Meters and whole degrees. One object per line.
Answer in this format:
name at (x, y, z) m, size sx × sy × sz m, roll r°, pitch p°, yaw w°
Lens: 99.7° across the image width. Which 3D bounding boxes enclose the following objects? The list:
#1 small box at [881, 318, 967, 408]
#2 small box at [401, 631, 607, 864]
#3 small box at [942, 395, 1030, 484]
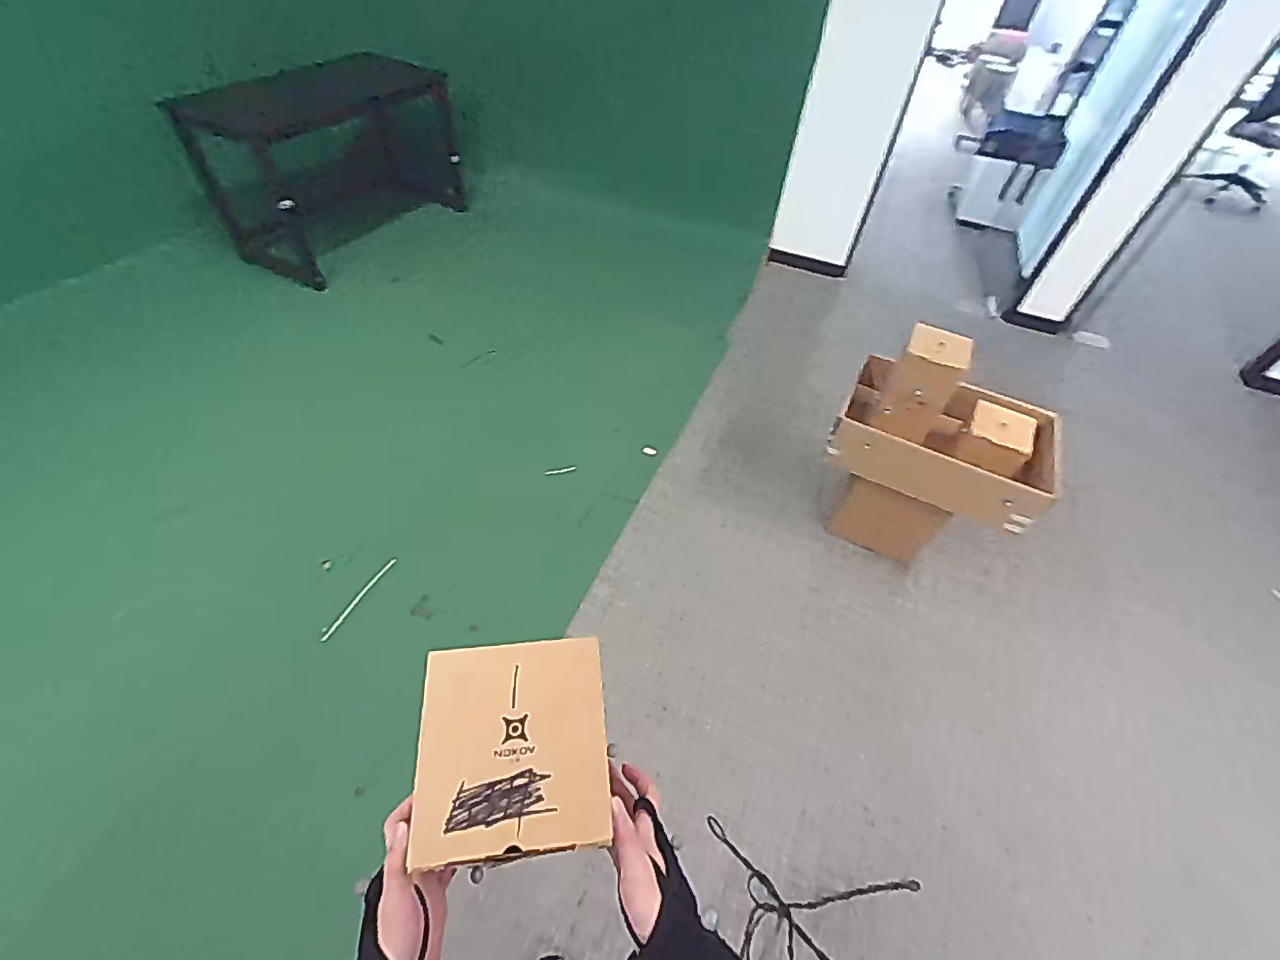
small box at (0.842, -0.347, 1.611) m, size 0.168 × 0.176 × 0.179 m, roll 23°, pitch 52°, yaw 15°
small box at (-0.119, 0.267, 0.539) m, size 0.168 × 0.176 × 0.179 m, roll -2°, pitch 54°, yaw -7°
small box at (1.057, -0.123, 1.657) m, size 0.168 × 0.176 × 0.179 m, roll 25°, pitch 53°, yaw 16°
